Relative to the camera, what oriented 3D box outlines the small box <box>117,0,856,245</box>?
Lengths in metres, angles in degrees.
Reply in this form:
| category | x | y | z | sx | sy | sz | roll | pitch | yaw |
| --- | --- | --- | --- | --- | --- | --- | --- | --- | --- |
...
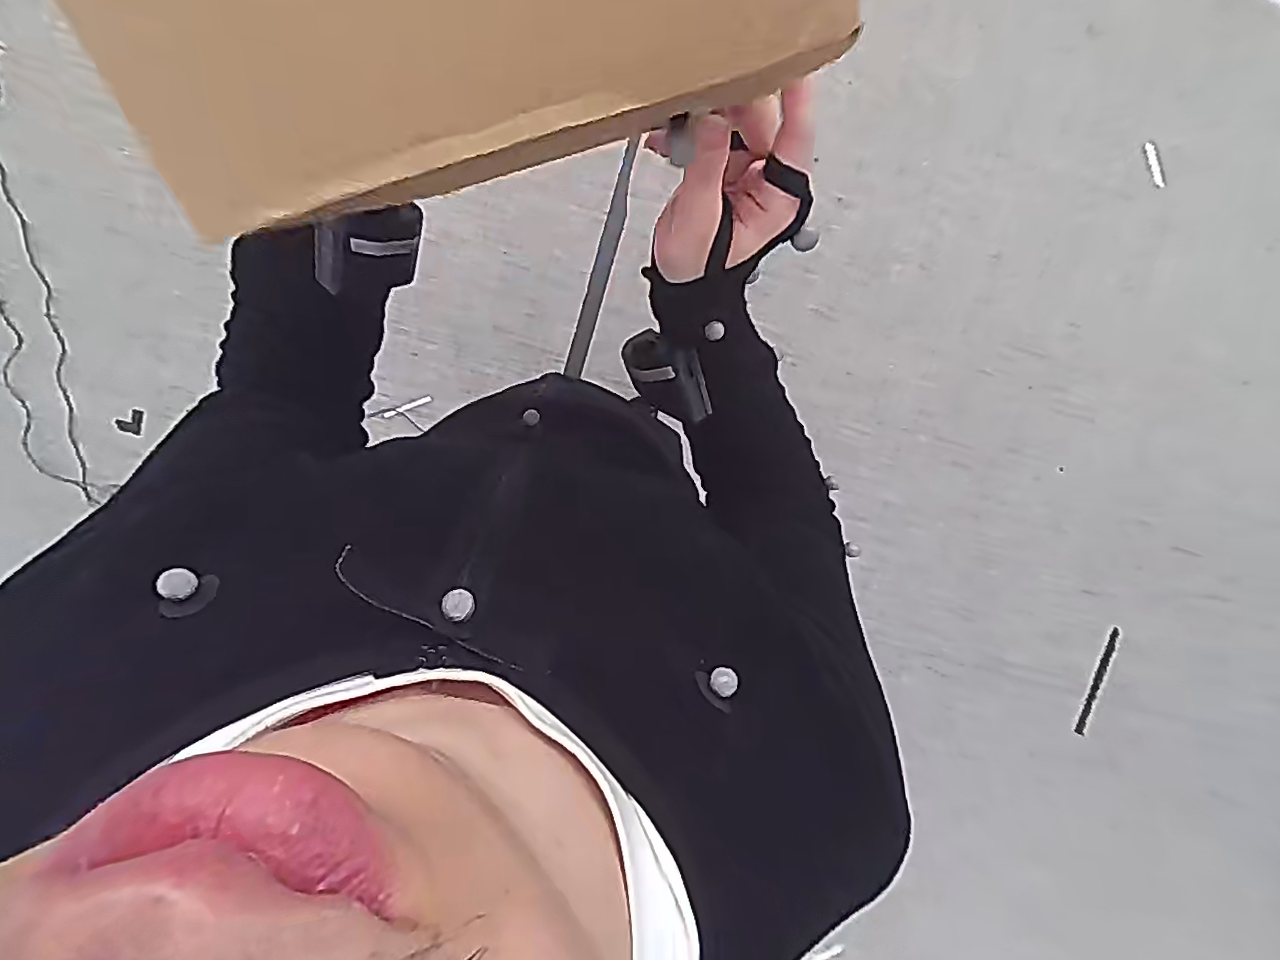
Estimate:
| category | x | y | z | sx | sy | sz | roll | pitch | yaw |
| --- | --- | --- | --- | --- | --- | --- | --- | --- | --- |
| small box | -0.047 | -0.196 | 0.174 | 0.179 | 0.176 | 0.168 | -12 | 119 | 13 |
